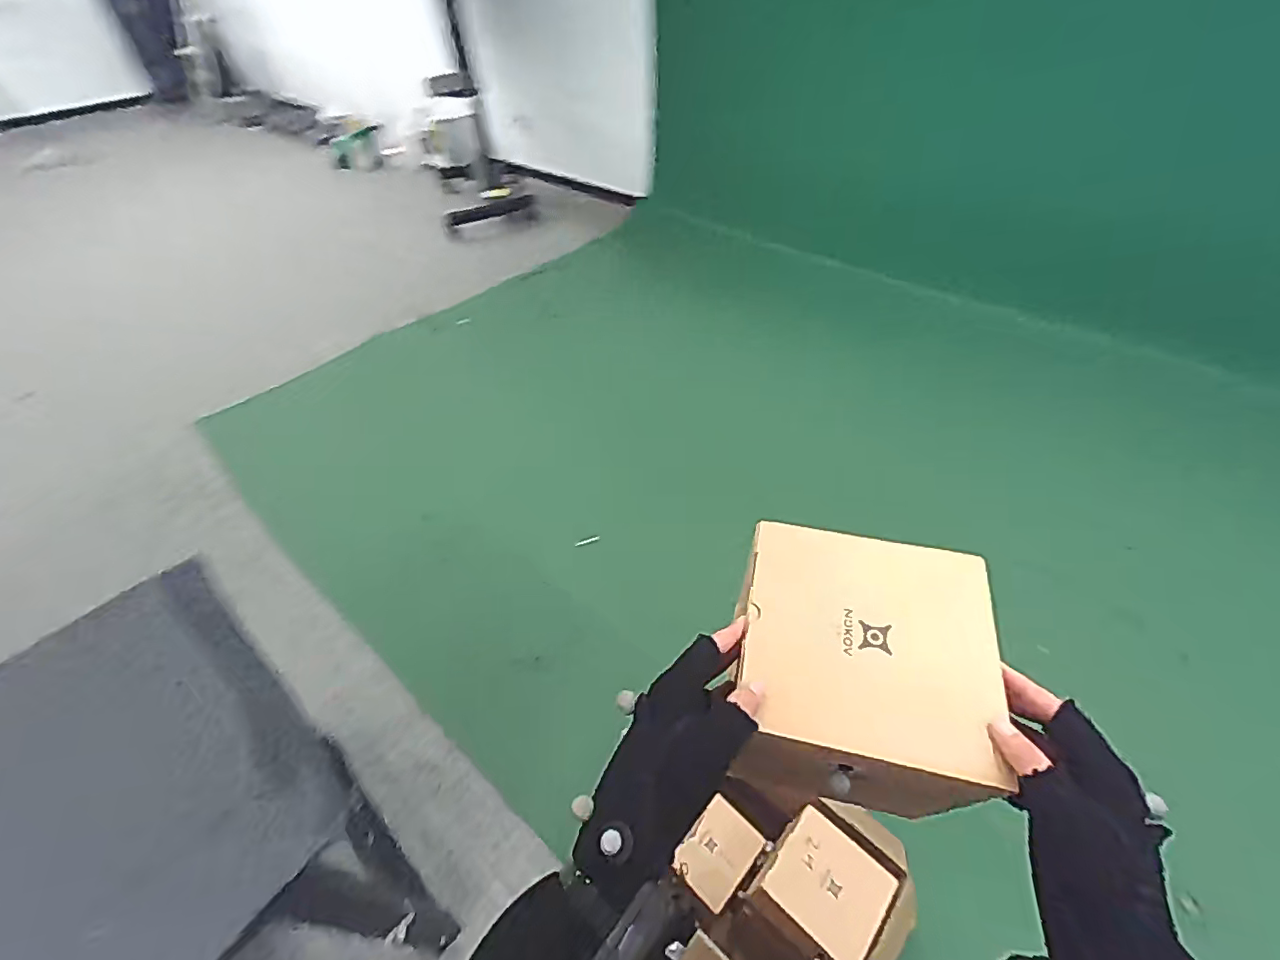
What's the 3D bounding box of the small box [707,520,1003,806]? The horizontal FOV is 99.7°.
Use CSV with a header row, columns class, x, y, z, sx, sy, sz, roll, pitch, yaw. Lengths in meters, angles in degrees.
class,x,y,z,sx,sy,sz,roll,pitch,yaw
small box,0.155,0.156,0.448,0.179,0.176,0.168,7,54,10
